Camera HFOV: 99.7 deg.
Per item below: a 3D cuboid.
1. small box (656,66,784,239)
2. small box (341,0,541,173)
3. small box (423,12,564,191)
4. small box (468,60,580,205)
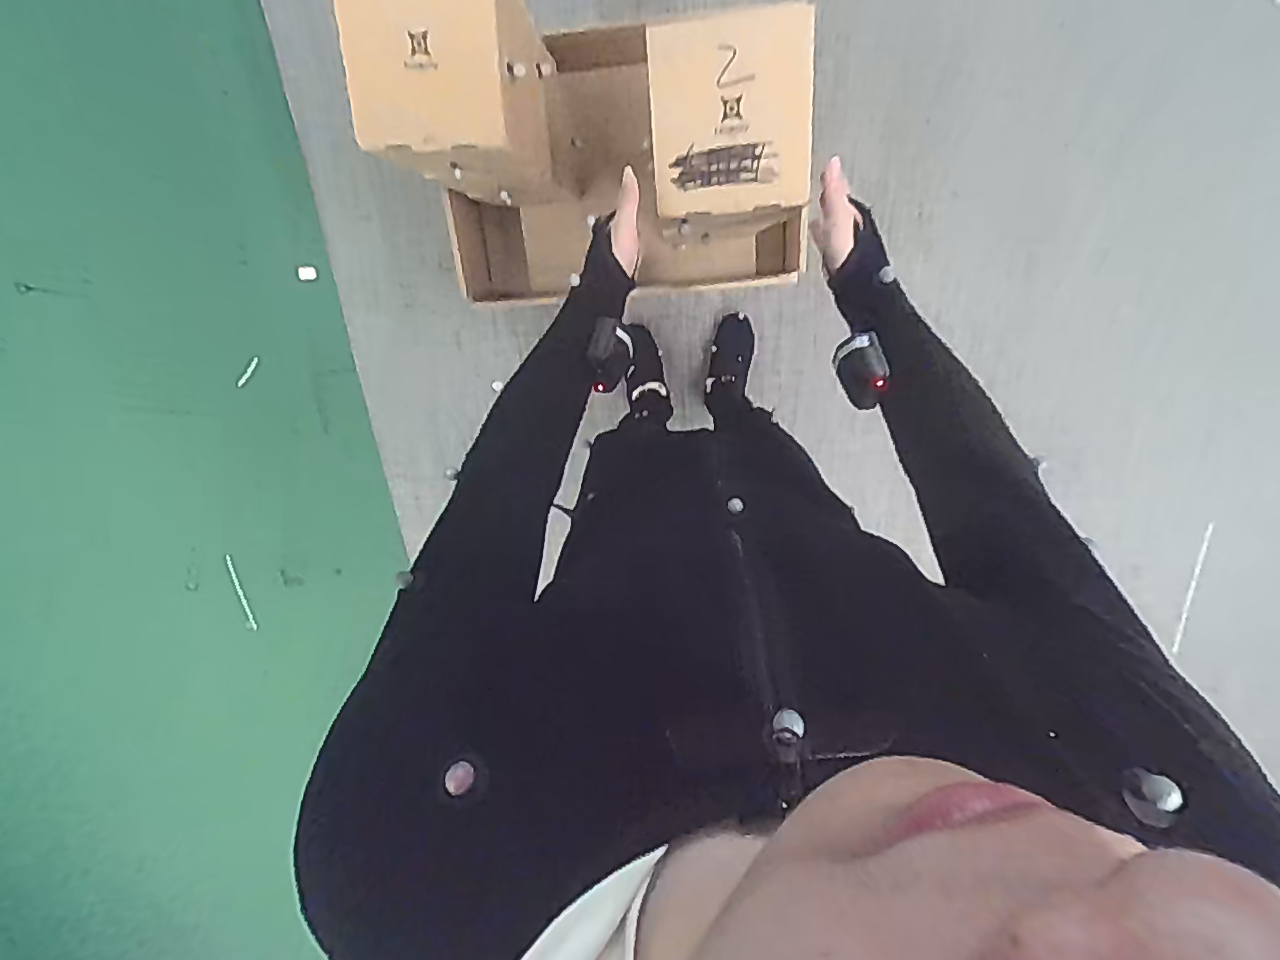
[{"bbox_3d":[0.110,-0.457,0.783,0.168,0.176,0.179,-4,110,5],"label":"small box"},{"bbox_3d":[-0.215,-0.471,0.625,0.168,0.176,0.179,2,111,3],"label":"small box"},{"bbox_3d":[-0.209,-0.527,0.777,0.168,0.176,0.179,1,111,4],"label":"small box"},{"bbox_3d":[-0.201,-0.585,0.931,0.168,0.176,0.179,-2,110,4],"label":"small box"}]
